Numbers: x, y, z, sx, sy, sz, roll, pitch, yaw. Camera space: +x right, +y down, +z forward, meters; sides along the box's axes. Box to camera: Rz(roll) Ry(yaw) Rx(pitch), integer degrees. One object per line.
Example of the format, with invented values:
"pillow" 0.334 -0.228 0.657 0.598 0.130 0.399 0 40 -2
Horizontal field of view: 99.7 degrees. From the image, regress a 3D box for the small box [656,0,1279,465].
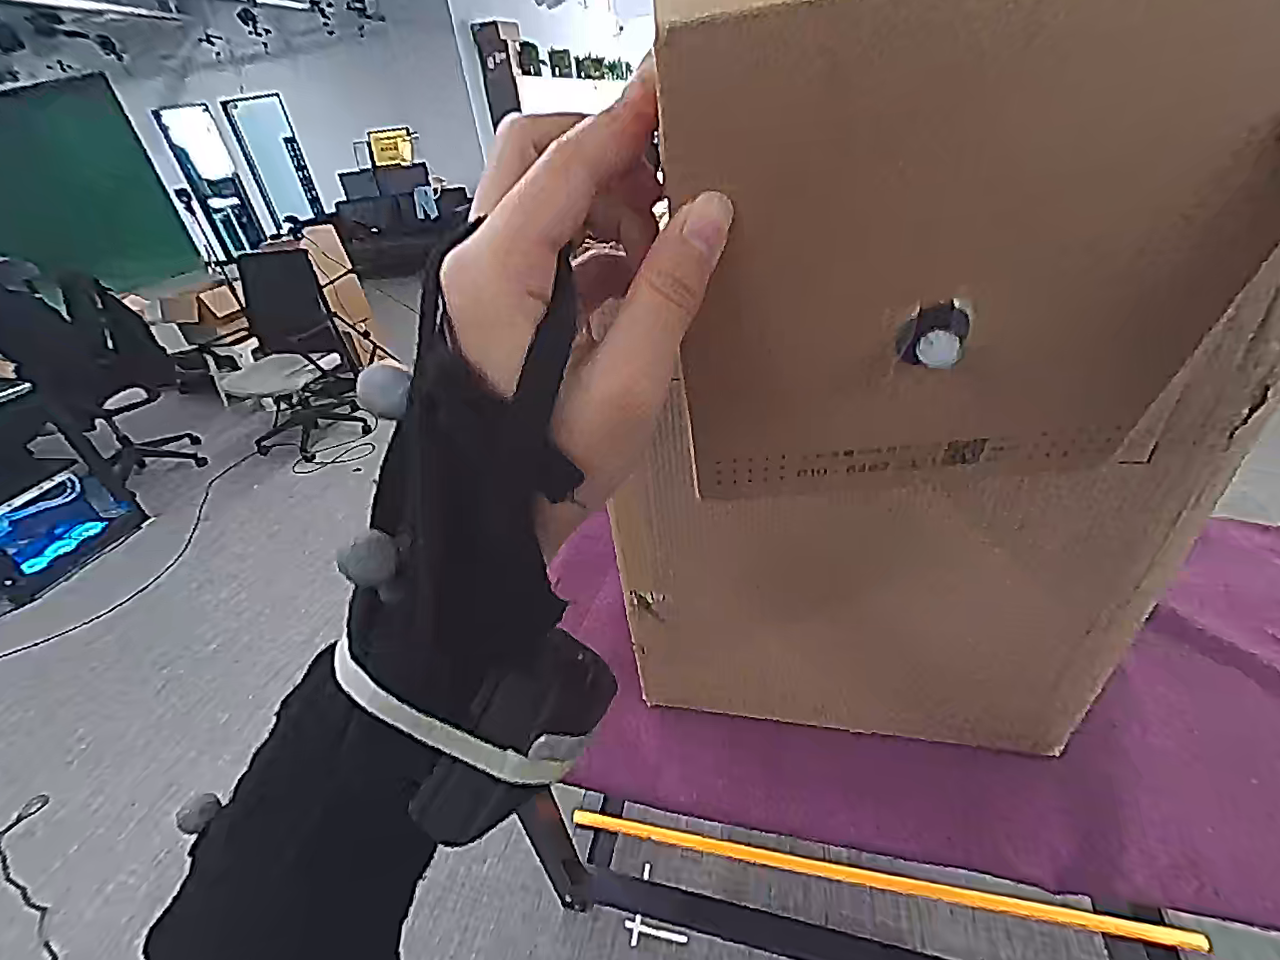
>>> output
"small box" 0.097 -0.119 0.223 0.168 0.176 0.179 -5 49 6
